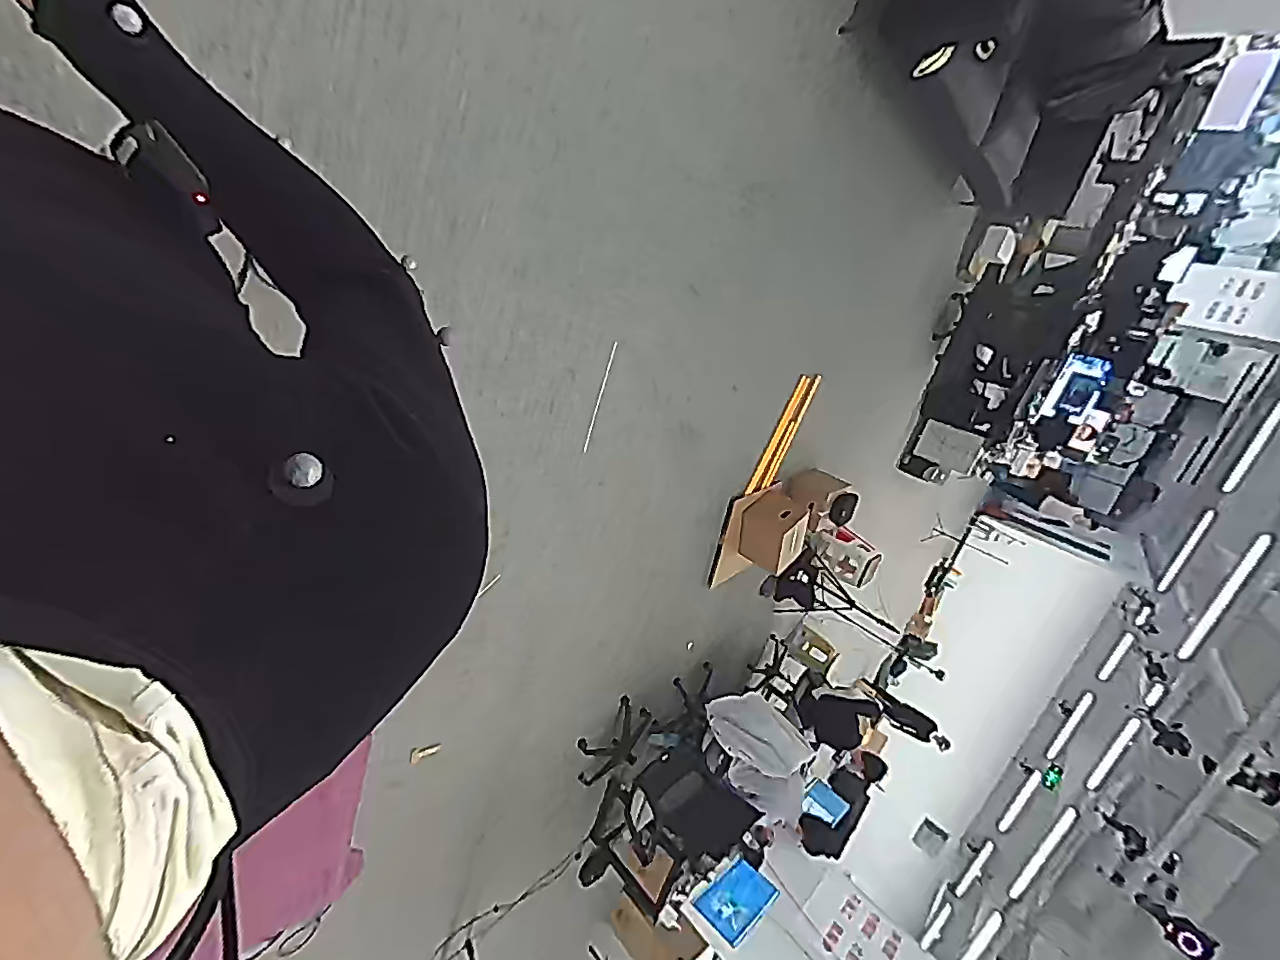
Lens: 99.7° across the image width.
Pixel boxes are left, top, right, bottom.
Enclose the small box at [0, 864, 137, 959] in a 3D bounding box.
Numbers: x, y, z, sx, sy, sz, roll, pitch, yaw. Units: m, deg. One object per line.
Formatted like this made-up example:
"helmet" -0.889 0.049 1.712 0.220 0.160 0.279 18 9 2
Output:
"small box" -0.895 0.753 0.833 0.168 0.176 0.179 -5 117 -47
